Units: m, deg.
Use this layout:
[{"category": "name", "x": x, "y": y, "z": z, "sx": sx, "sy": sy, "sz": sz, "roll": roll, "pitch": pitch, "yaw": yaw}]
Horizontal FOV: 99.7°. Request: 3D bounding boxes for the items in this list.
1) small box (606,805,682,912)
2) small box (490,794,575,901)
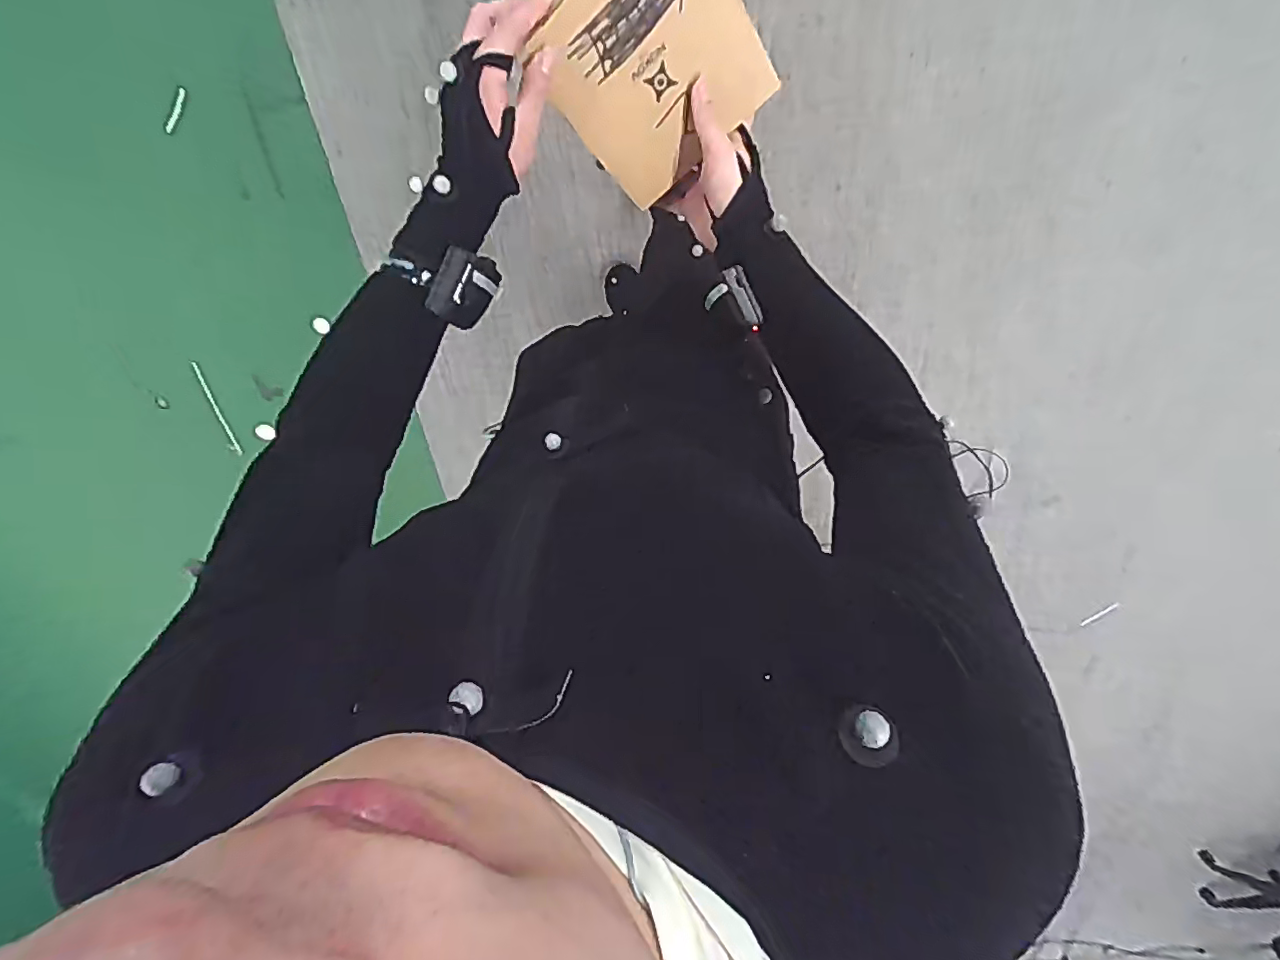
[{"category": "small box", "x": 0.018, "y": 0.953, "z": 1.365, "sx": 0.168, "sy": 0.176, "sz": 0.179, "roll": -5, "pitch": 120, "yaw": 7}, {"category": "small box", "x": -0.266, "y": 0.932, "z": 1.379, "sx": 0.179, "sy": 0.176, "sz": 0.168, "roll": 4, "pitch": 121, "yaw": 2}]
